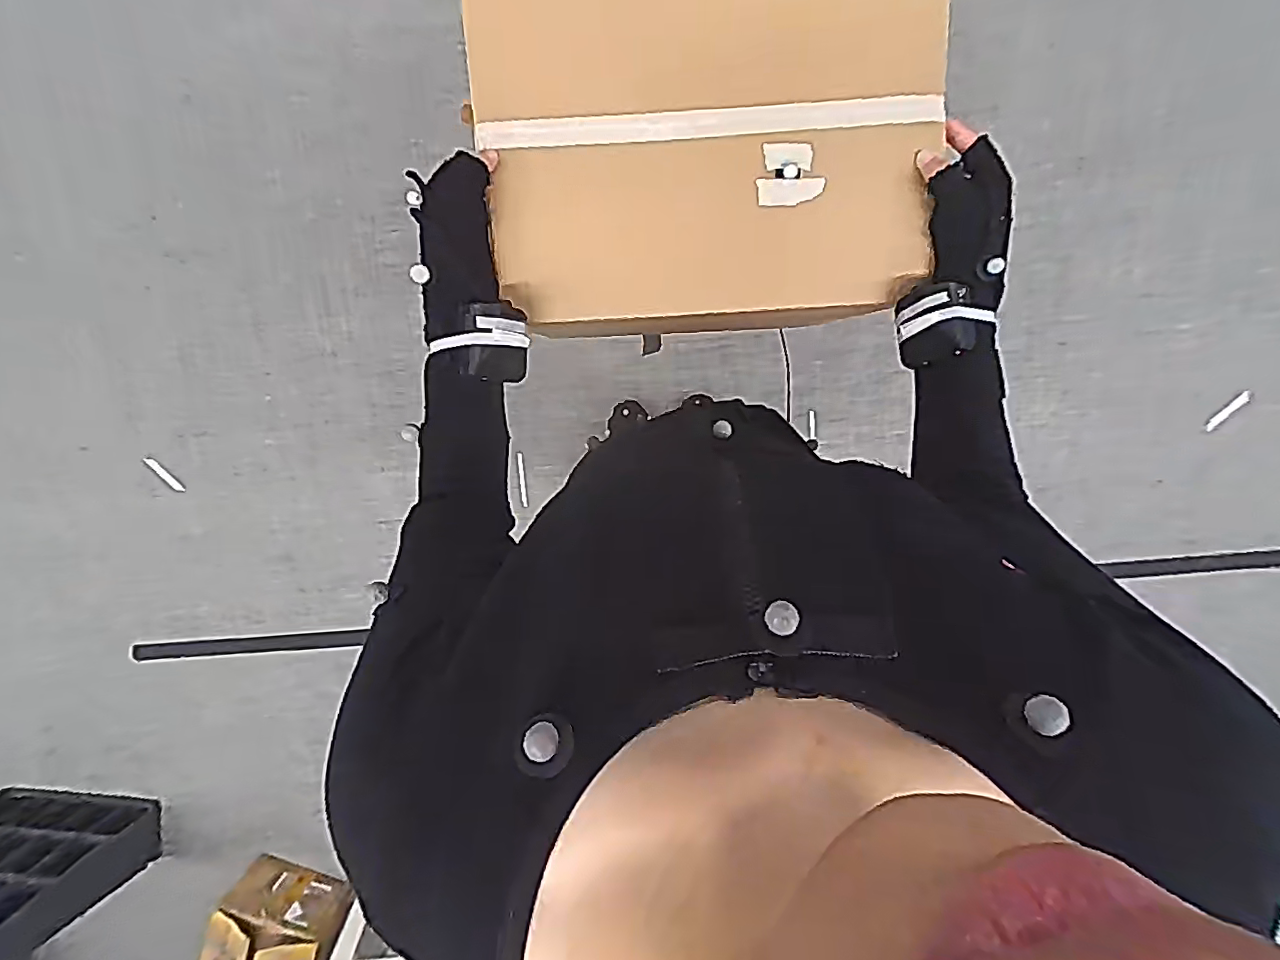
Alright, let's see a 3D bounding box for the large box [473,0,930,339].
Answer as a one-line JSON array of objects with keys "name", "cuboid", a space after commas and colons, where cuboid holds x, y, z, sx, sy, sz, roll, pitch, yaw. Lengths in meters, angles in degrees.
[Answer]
[{"name": "large box", "cuboid": [0.057, -0.346, 0.635, 0.408, 0.320, 0.320, -4, 103, -1]}]
